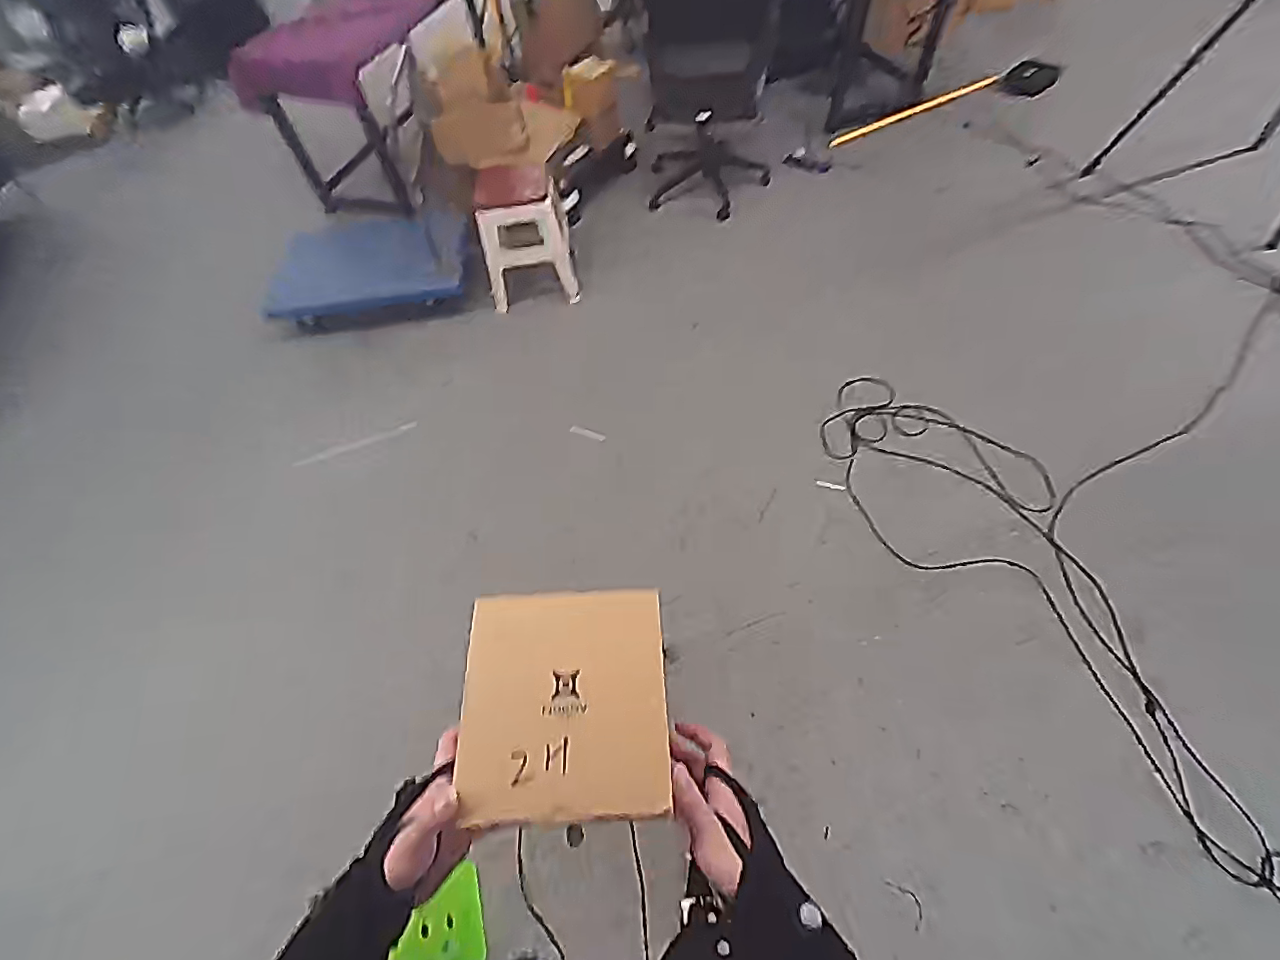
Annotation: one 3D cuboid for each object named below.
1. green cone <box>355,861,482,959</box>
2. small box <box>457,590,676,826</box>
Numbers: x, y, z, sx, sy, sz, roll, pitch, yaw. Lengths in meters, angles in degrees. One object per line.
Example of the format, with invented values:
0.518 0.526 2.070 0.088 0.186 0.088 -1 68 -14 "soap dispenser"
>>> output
-0.489 0.947 1.123 0.202 0.368 0.200 -17 58 -7 "green cone"
-0.057 0.220 0.512 0.168 0.176 0.179 -3 57 -1 "small box"
